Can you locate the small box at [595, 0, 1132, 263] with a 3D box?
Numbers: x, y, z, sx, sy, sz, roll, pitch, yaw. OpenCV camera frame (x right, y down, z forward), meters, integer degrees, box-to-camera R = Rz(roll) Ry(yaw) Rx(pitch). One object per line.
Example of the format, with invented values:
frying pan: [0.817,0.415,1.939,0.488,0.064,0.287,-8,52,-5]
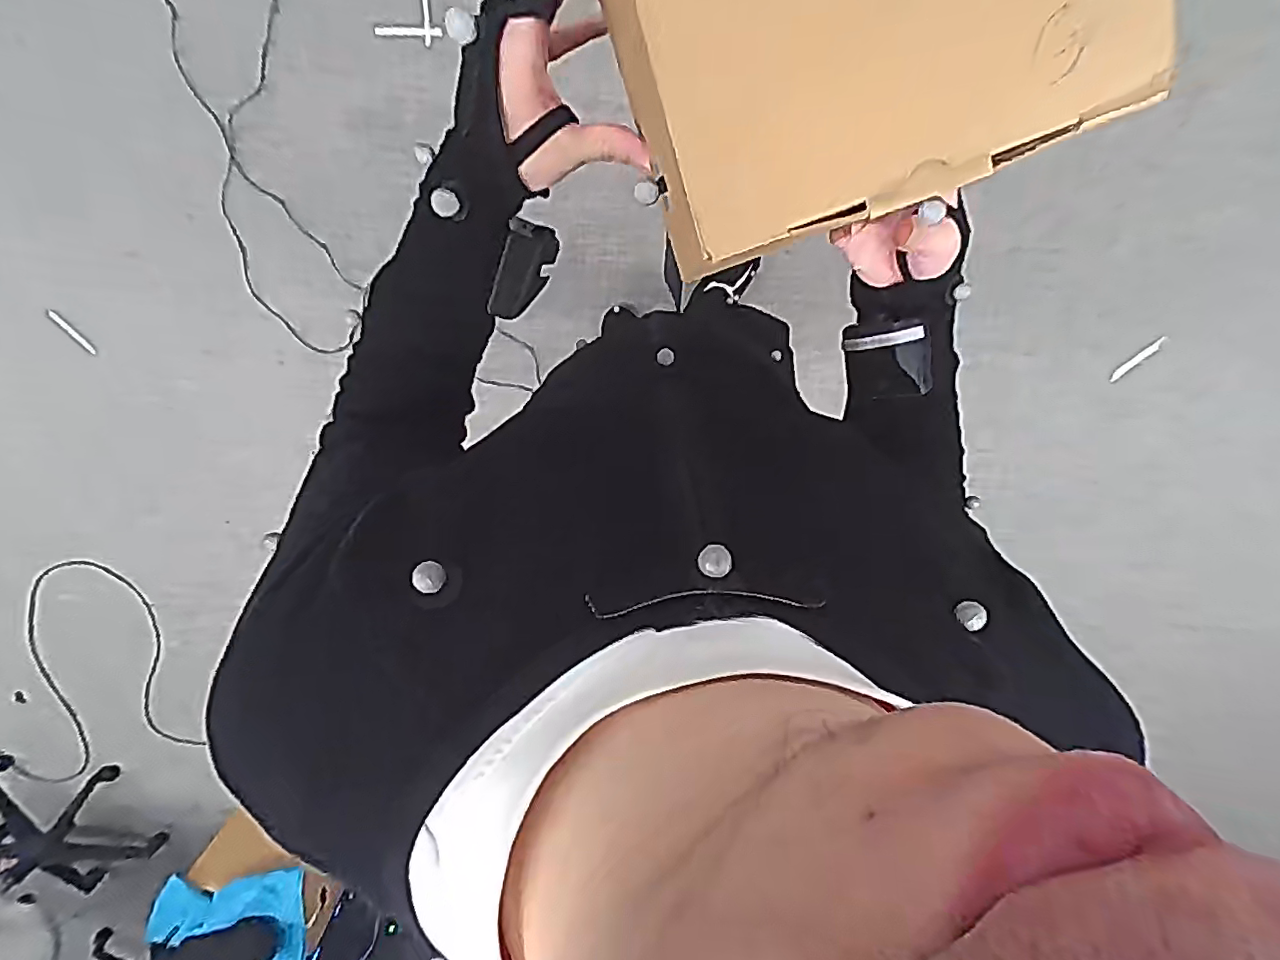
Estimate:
small box: [0.073,-0.215,0.255,0.168,0.176,0.179,-18,106,5]
